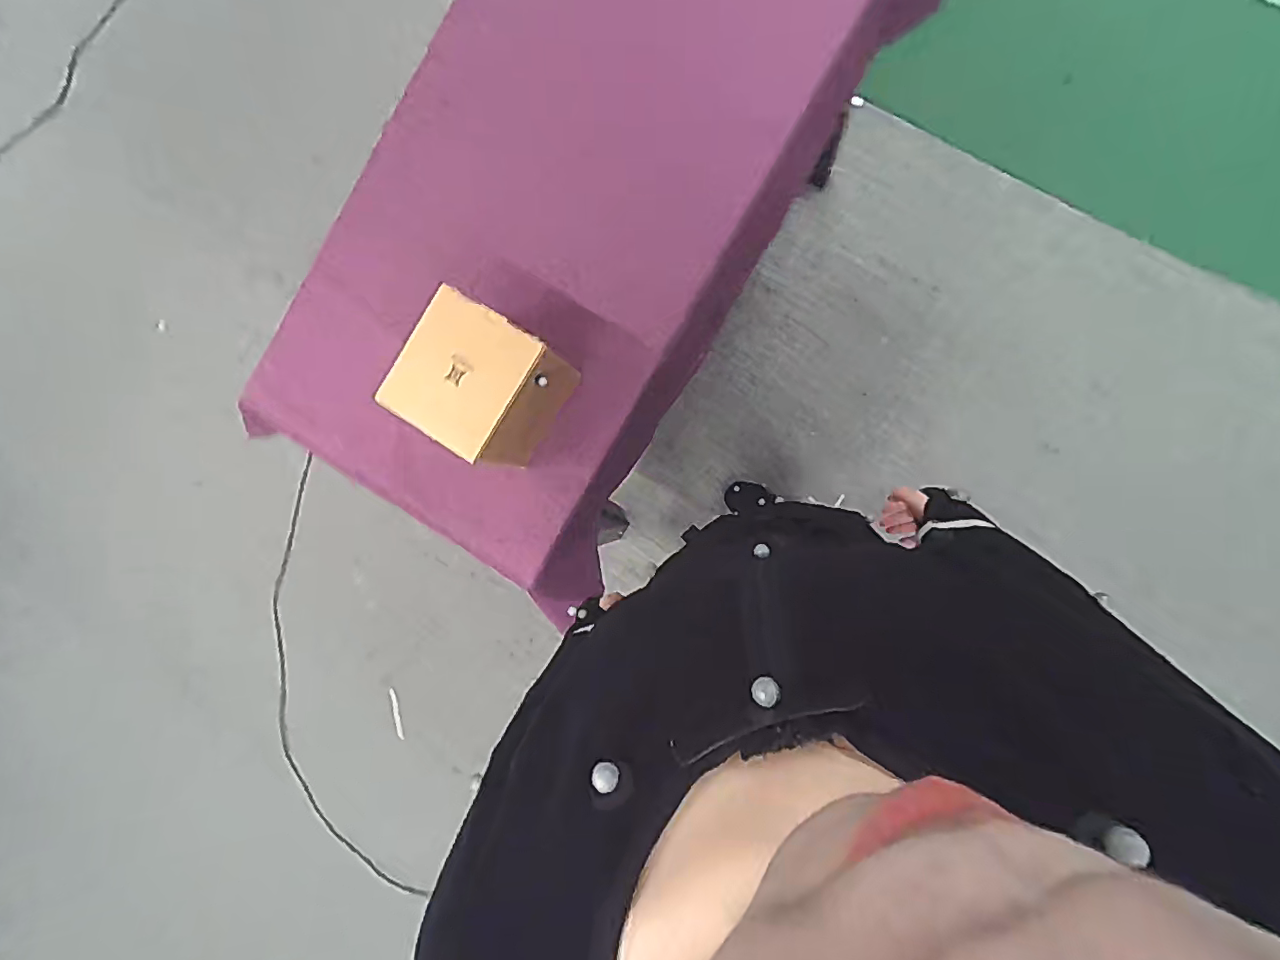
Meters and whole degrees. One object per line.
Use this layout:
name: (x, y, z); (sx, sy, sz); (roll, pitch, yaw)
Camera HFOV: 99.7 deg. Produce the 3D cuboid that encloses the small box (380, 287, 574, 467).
small box: (-0.217, -0.131, 0.769); (0.168, 0.176, 0.179); (32, 92, 10)
